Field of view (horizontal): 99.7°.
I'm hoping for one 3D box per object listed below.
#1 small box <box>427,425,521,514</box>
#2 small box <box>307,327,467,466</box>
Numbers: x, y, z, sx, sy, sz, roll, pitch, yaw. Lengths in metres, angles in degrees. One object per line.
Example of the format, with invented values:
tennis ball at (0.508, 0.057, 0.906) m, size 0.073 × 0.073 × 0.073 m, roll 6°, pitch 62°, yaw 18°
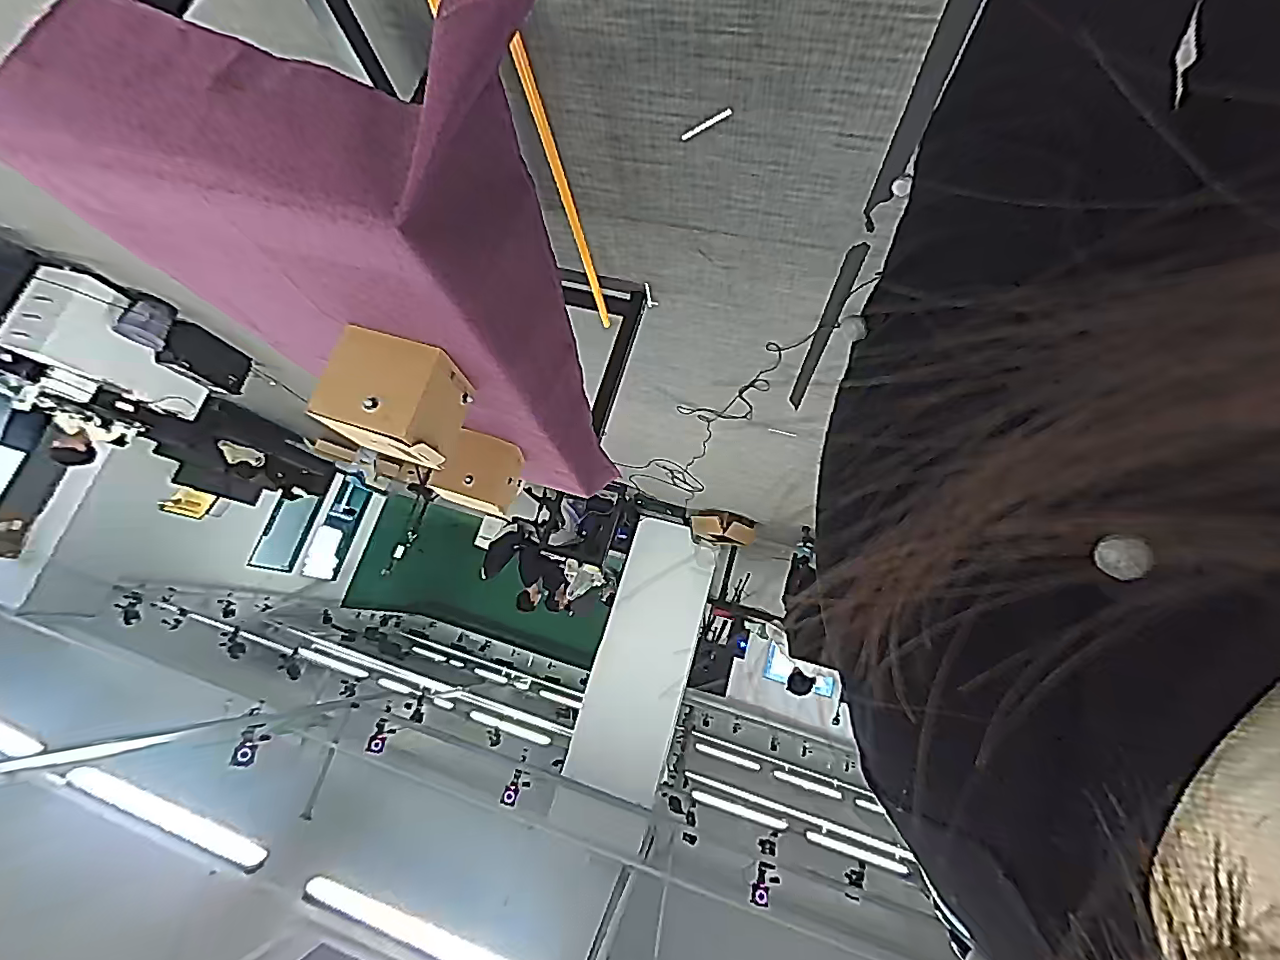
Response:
small box at (-0.415, -0.026, 1.393) m, size 0.179 × 0.176 × 0.168 m, roll 18°, pitch 165°, yaw -1°
small box at (-0.423, -0.144, 0.944) m, size 0.179 × 0.176 × 0.168 m, roll 17°, pitch 166°, yaw 7°
